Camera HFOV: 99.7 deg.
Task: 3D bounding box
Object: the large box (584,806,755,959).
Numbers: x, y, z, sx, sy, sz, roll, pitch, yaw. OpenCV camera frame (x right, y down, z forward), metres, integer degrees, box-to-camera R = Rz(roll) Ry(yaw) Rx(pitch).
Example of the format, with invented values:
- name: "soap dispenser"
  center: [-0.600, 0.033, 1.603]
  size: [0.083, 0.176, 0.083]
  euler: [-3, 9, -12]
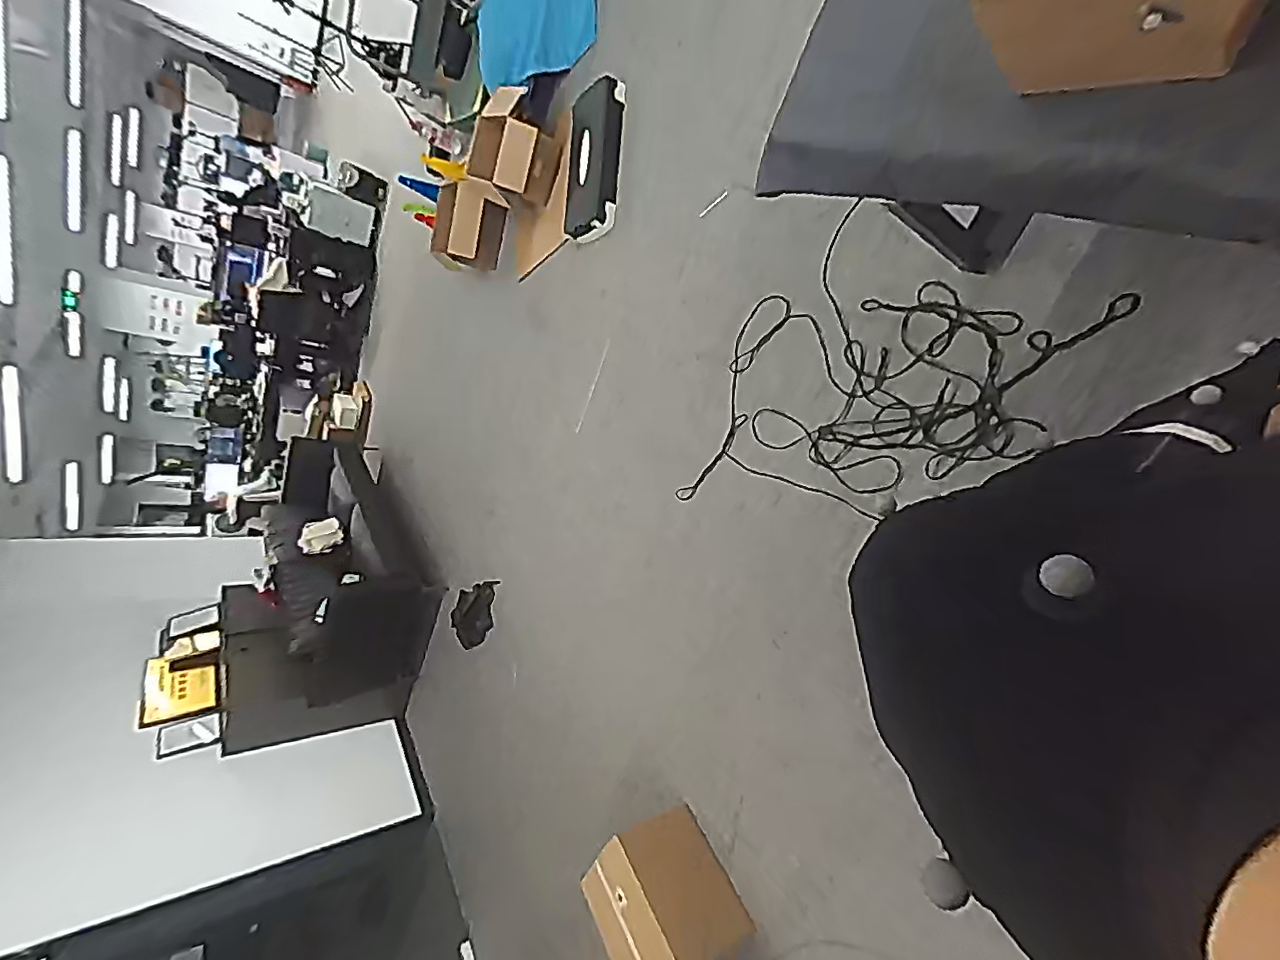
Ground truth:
- name: "large box"
  center: [0.083, 1.355, 1.720]
  size: [0.408, 0.320, 0.320]
  euler: [51, 123, 41]
